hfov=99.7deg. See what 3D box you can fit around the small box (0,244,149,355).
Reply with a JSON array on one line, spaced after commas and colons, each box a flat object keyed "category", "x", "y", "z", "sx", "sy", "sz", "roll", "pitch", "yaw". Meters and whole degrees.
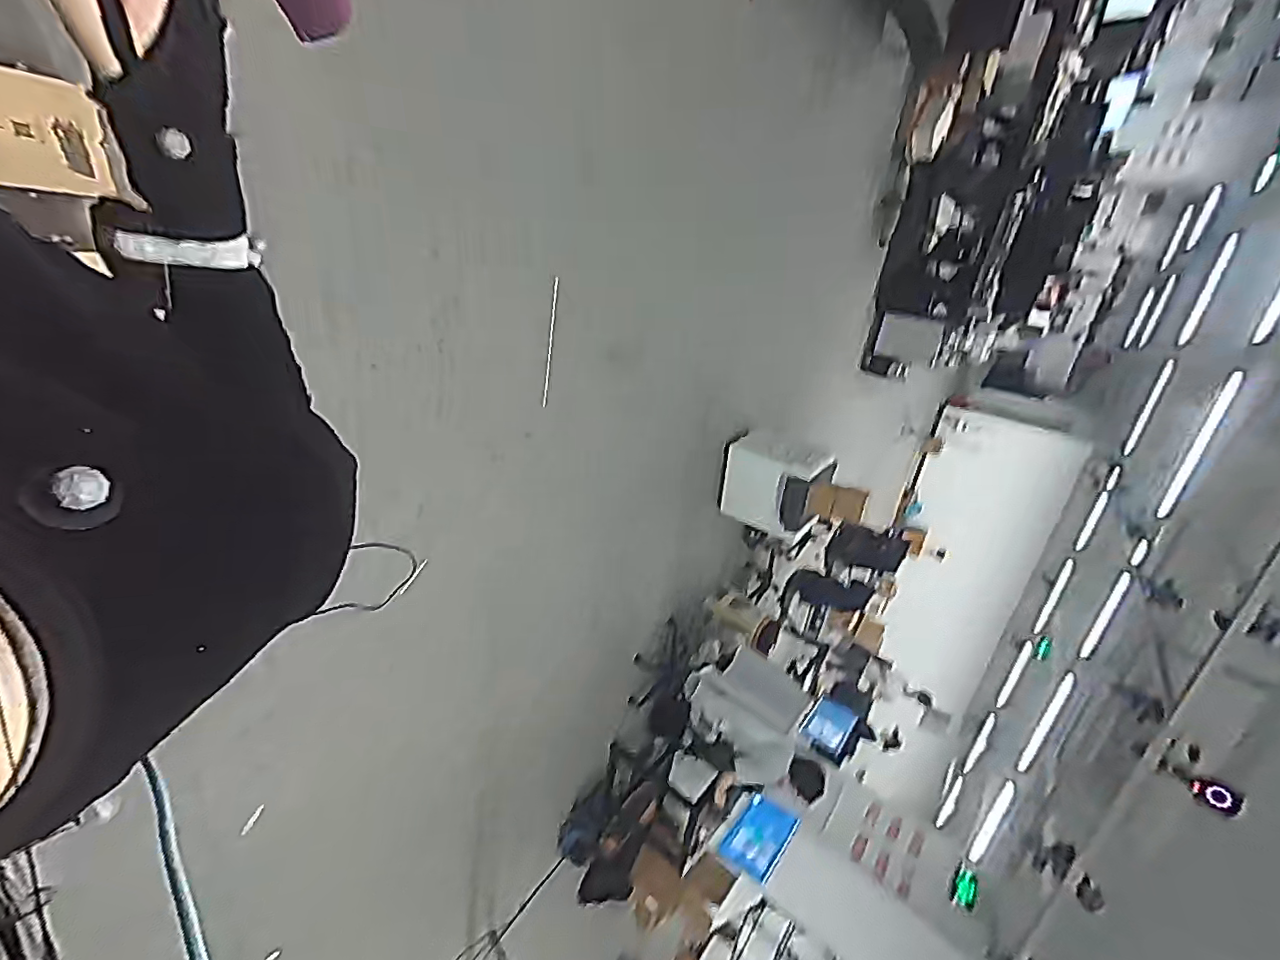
[{"category": "small box", "x": -1.045, "y": -0.331, "z": 0.980, "sx": 0.179, "sy": 0.176, "sz": 0.168, "roll": -25, "pitch": 128, "yaw": -48}]
